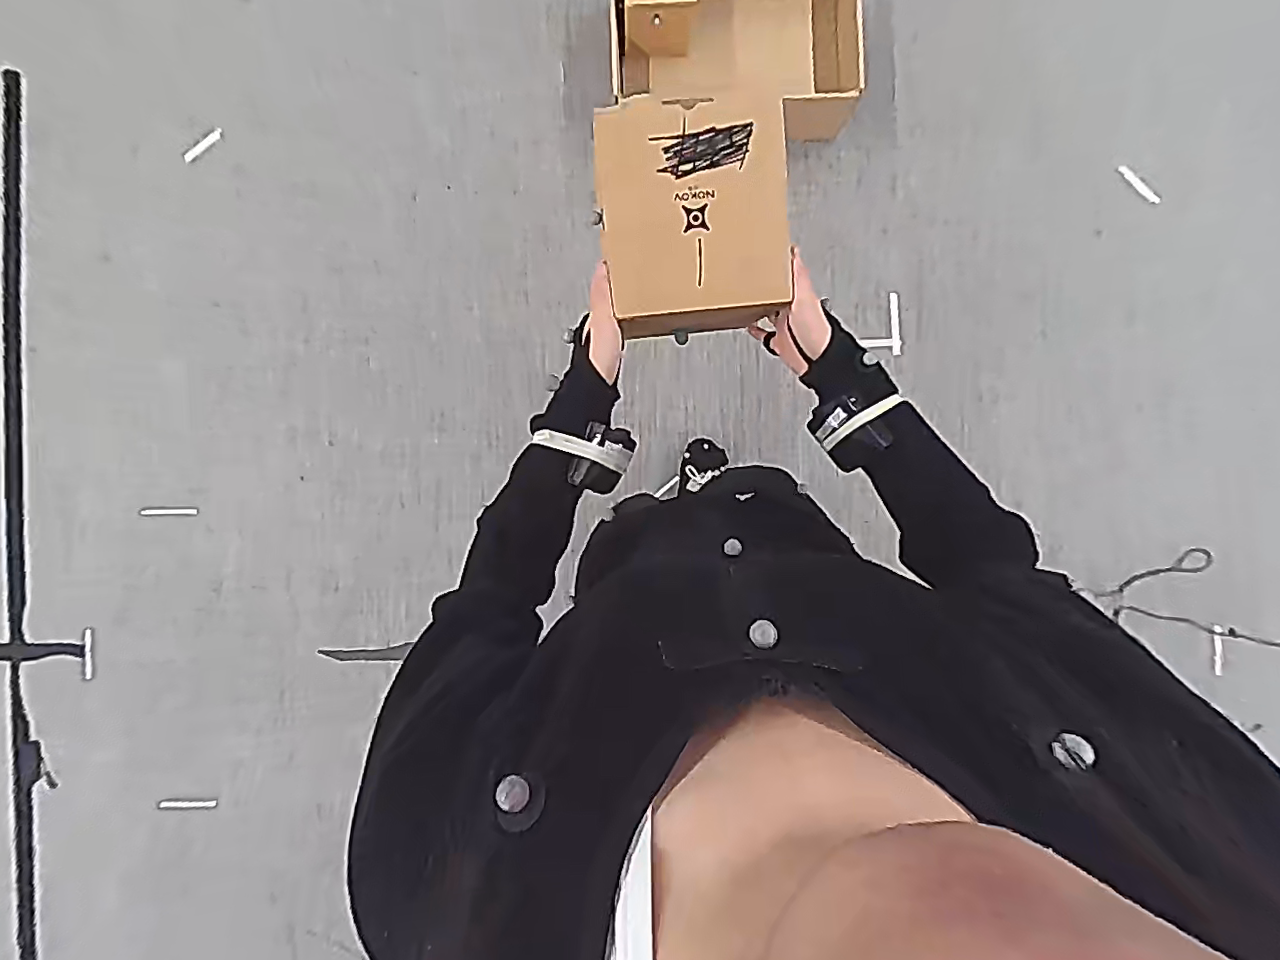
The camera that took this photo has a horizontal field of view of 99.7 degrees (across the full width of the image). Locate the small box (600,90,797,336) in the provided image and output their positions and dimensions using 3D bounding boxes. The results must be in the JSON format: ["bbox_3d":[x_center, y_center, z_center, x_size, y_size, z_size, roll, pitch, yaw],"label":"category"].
[{"bbox_3d":[0.048,-0.252,0.549,0.168,0.176,0.179,-6,99,-2],"label":"small box"}]
